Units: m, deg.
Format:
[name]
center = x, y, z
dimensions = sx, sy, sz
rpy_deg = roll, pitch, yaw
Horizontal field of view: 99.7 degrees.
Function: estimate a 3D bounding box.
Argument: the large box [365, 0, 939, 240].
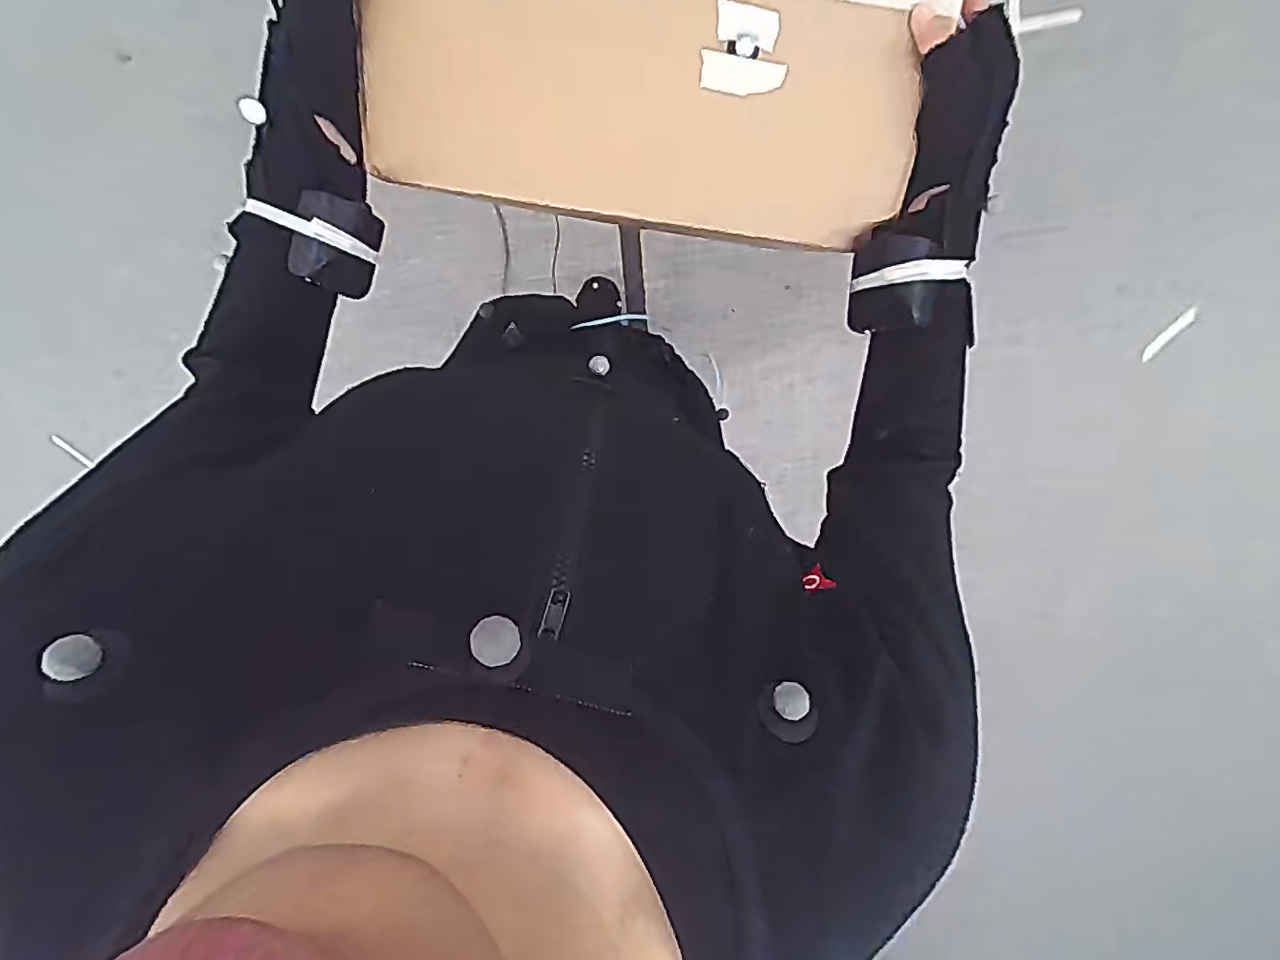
[large box]
center = 0.012, -0.413, 0.502
dimensions = 0.408, 0.320, 0.320
rpy_deg = 8, 115, -1
